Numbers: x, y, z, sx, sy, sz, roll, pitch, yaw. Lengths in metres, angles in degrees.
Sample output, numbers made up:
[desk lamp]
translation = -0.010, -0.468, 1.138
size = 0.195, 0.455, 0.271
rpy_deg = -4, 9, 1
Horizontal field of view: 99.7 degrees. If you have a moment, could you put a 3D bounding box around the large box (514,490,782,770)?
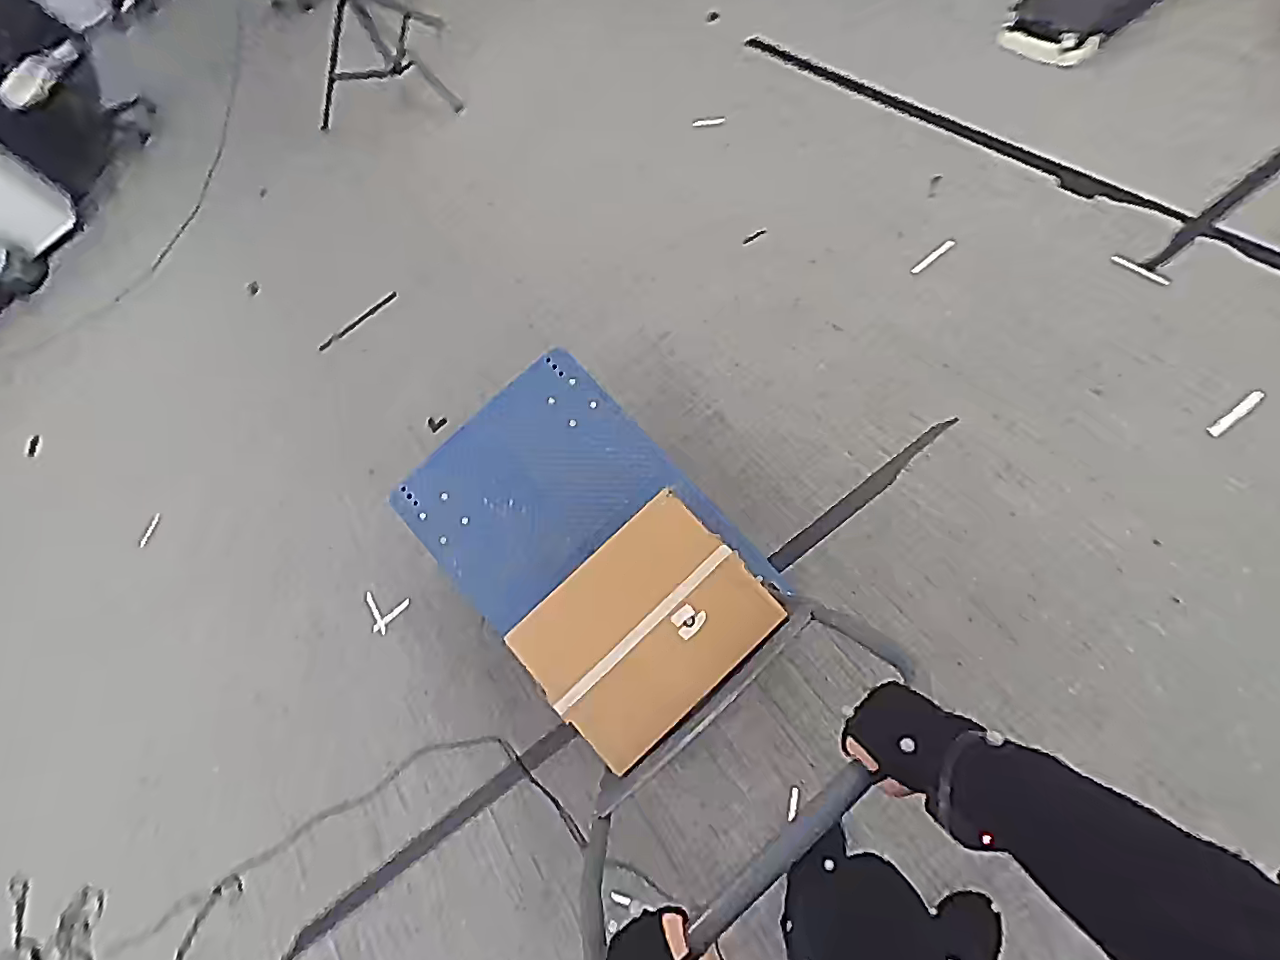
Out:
[large box]
translation = 0.019, 0.287, 1.117
size = 0.408, 0.320, 0.320
rpy_deg = -44, 82, -5
